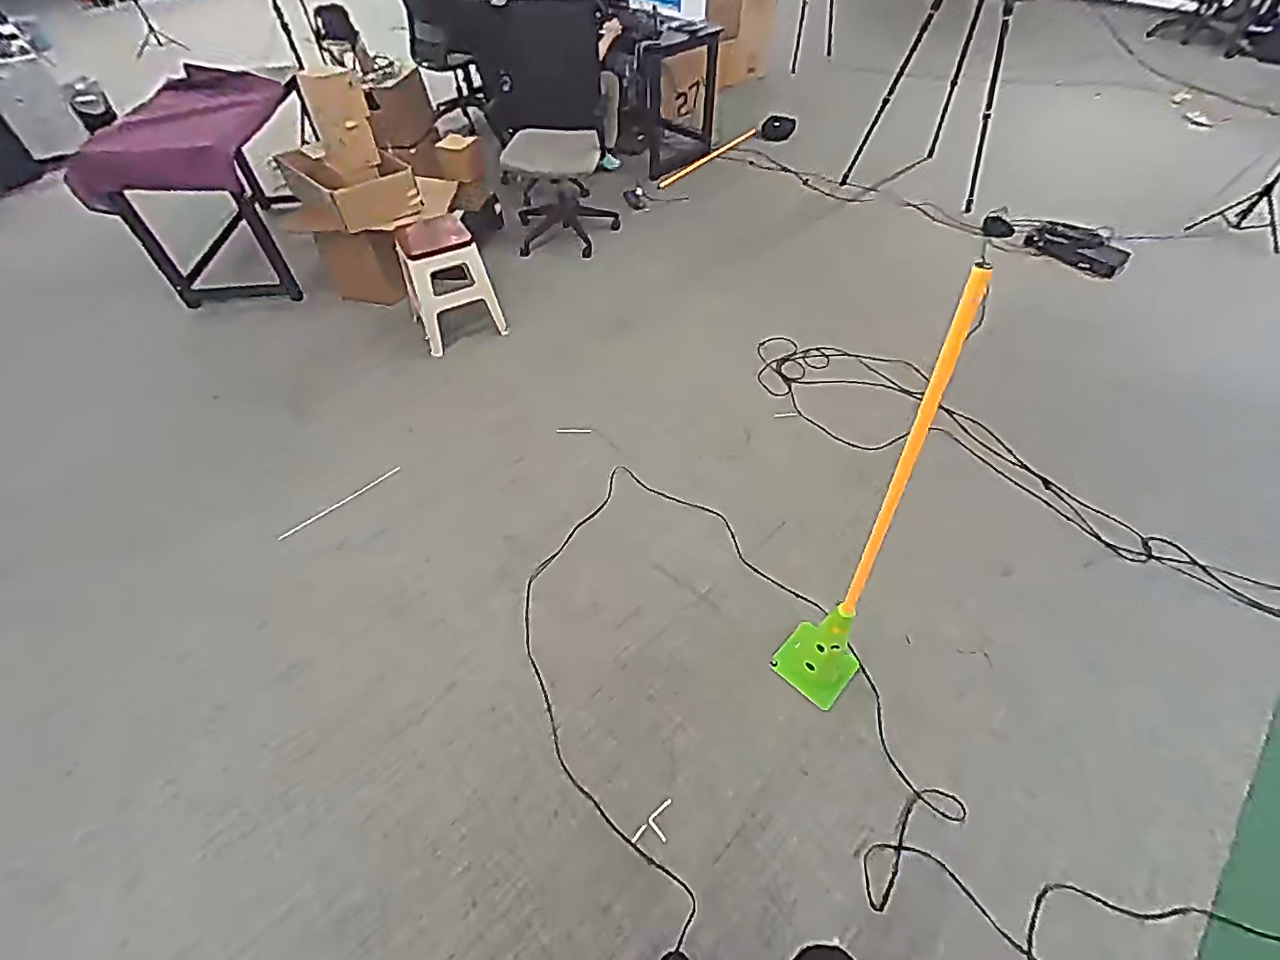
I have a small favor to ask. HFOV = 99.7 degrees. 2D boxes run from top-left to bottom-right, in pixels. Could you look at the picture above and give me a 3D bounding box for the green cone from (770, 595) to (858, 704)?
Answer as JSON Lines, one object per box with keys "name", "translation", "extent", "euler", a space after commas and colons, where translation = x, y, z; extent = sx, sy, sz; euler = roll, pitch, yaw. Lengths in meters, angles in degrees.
{"name": "green cone", "translation": [0.512, 0.417, 1.456], "extent": [0.200, 0.368, 0.202], "euler": [36, 59, 26]}
